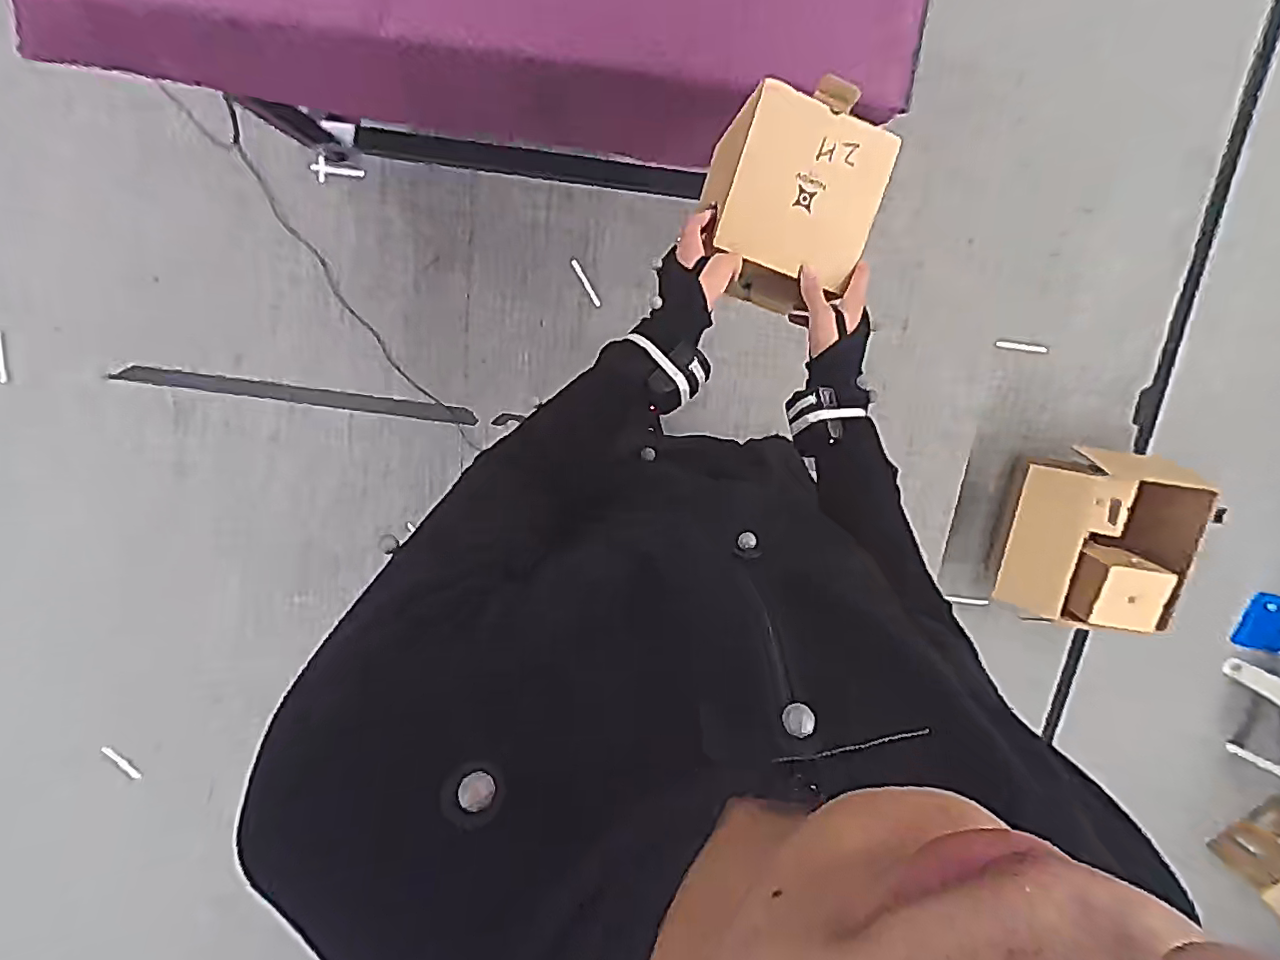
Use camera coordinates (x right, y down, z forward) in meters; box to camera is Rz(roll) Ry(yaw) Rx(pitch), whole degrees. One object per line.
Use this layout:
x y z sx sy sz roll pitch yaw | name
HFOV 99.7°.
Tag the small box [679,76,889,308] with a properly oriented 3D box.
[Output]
0.157 -0.323 0.655 0.168 0.176 0.179 15 97 -12 | small box
